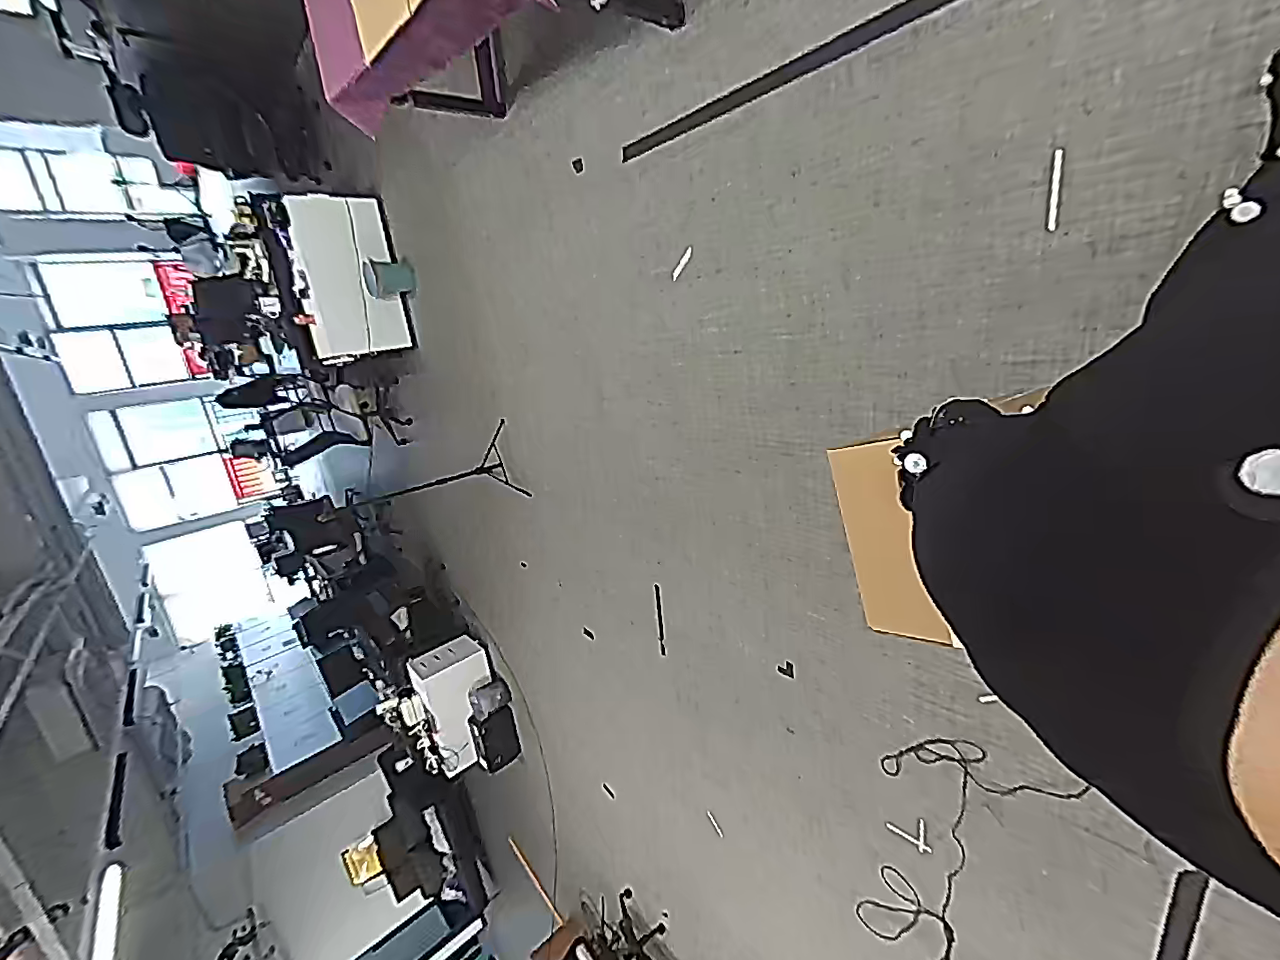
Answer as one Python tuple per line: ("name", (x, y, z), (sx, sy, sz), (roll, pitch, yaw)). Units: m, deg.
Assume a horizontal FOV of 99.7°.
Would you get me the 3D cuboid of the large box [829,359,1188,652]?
("large box", (0.581, 0.024, 0.858), (0.320, 0.408, 0.320), (-11, 95, 60))
